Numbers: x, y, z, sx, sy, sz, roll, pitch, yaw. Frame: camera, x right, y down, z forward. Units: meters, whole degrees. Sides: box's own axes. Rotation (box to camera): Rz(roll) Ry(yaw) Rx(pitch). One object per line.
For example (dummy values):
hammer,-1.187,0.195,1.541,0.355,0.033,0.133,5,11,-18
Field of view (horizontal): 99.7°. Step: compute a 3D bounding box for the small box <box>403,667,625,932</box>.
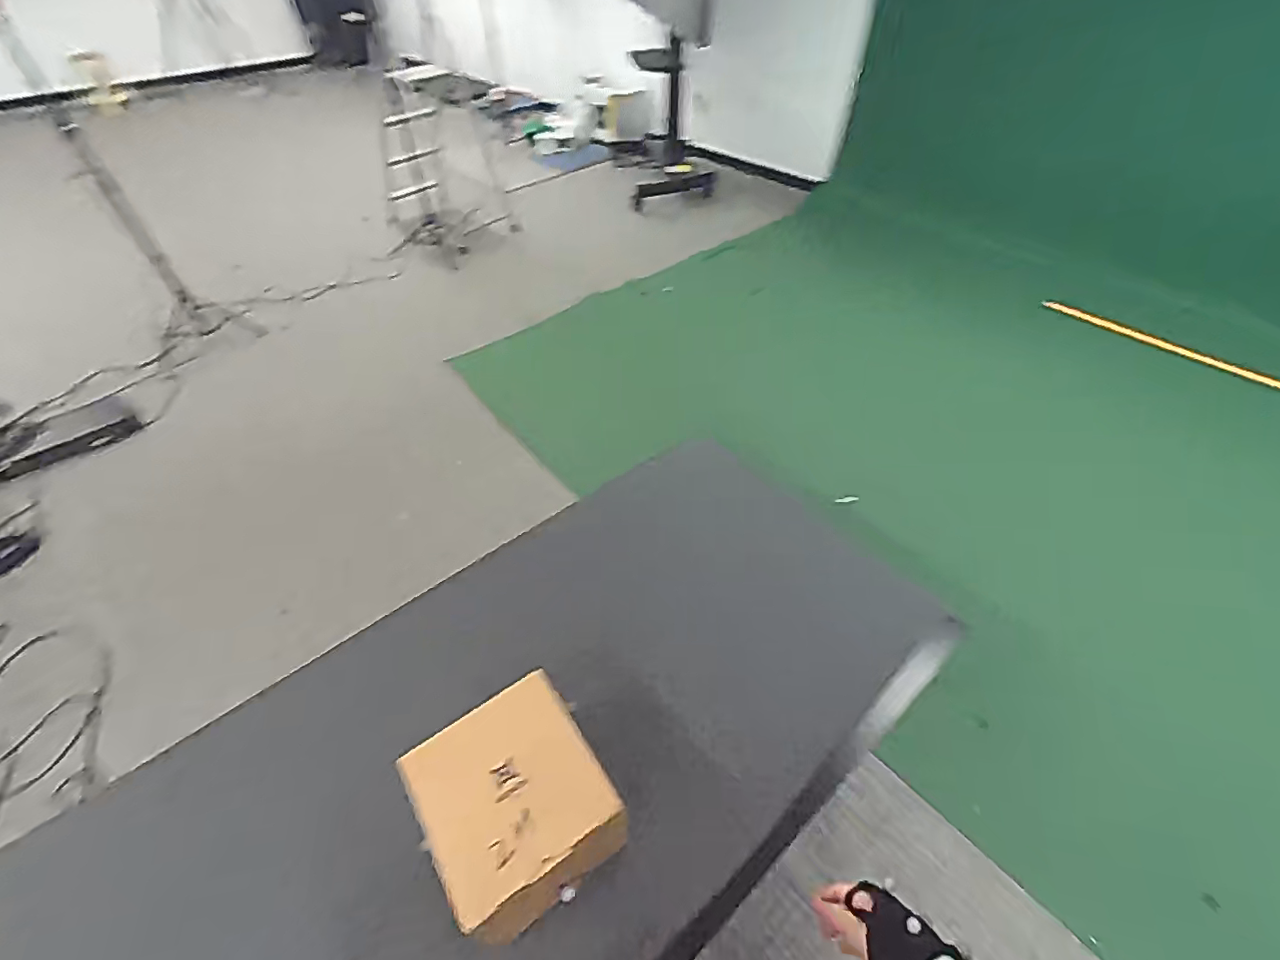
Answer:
small box,-0.131,0.352,0.599,0.168,0.176,0.179,-29,53,-23
